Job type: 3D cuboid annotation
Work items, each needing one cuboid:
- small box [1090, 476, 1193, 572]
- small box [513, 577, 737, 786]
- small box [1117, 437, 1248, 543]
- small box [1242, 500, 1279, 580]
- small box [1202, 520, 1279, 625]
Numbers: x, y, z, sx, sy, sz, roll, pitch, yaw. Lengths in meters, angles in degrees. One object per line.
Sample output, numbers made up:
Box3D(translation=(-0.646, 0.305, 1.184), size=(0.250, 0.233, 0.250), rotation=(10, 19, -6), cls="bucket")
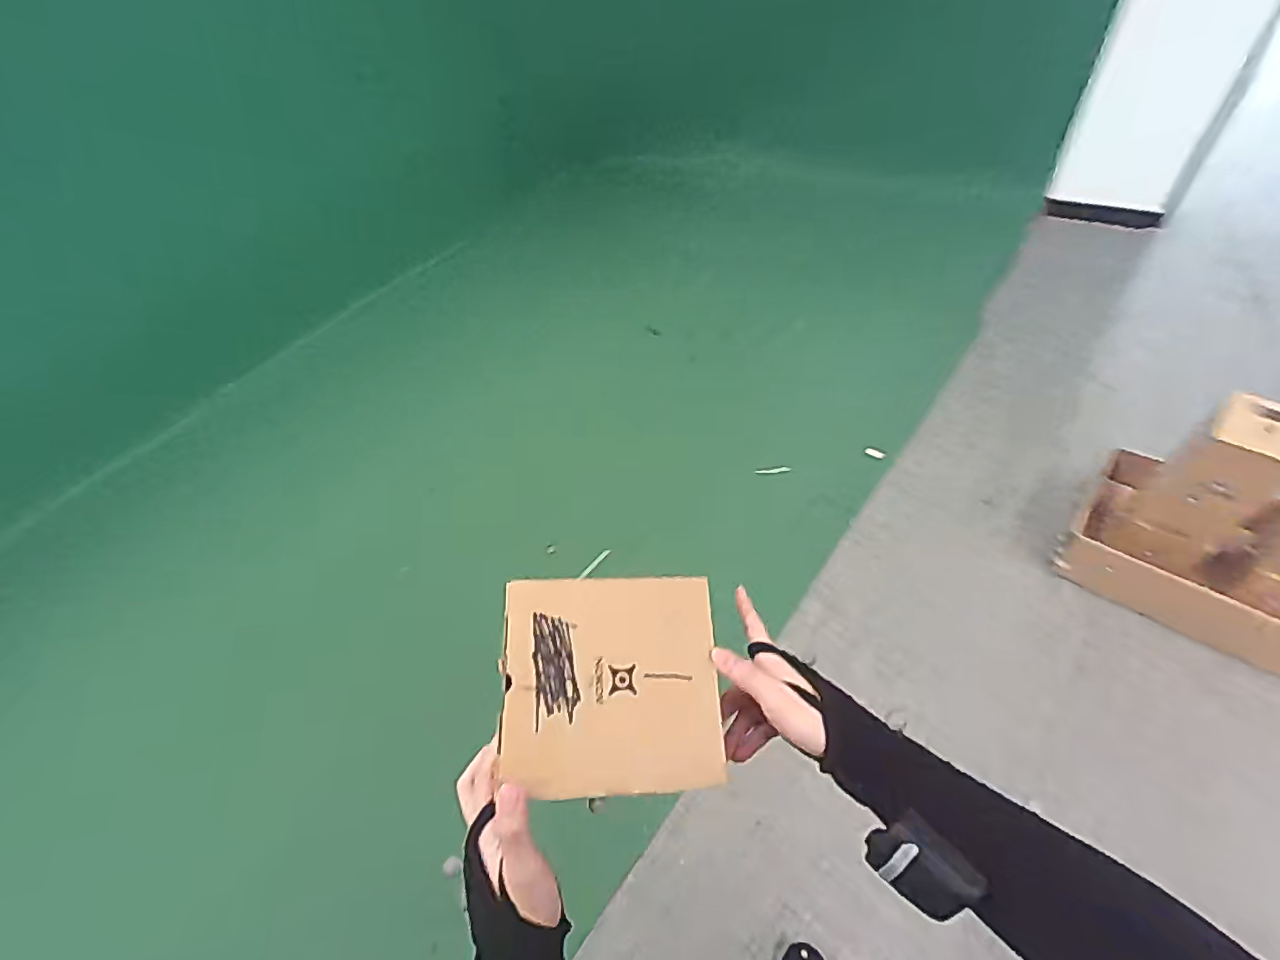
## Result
Box3D(translation=(1.425, 0.129, 1.530), size=(0.168, 0.176, 0.179), rotation=(29, 63, 27), cls="small box")
Box3D(translation=(-0.019, 0.197, 0.520), size=(0.179, 0.176, 0.168), rotation=(1, 63, -6), cls="small box")
Box3D(translation=(1.398, 0.027, 1.404), size=(0.168, 0.176, 0.179), rotation=(33, 64, 31), cls="small box")
Box3D(translation=(1.598, 0.140, 1.279), size=(0.168, 0.176, 0.179), rotation=(30, 64, 32), cls="small box")
Box3D(translation=(1.624, 0.243, 1.404), size=(0.168, 0.176, 0.179), rotation=(28, 63, 29), cls="small box")
